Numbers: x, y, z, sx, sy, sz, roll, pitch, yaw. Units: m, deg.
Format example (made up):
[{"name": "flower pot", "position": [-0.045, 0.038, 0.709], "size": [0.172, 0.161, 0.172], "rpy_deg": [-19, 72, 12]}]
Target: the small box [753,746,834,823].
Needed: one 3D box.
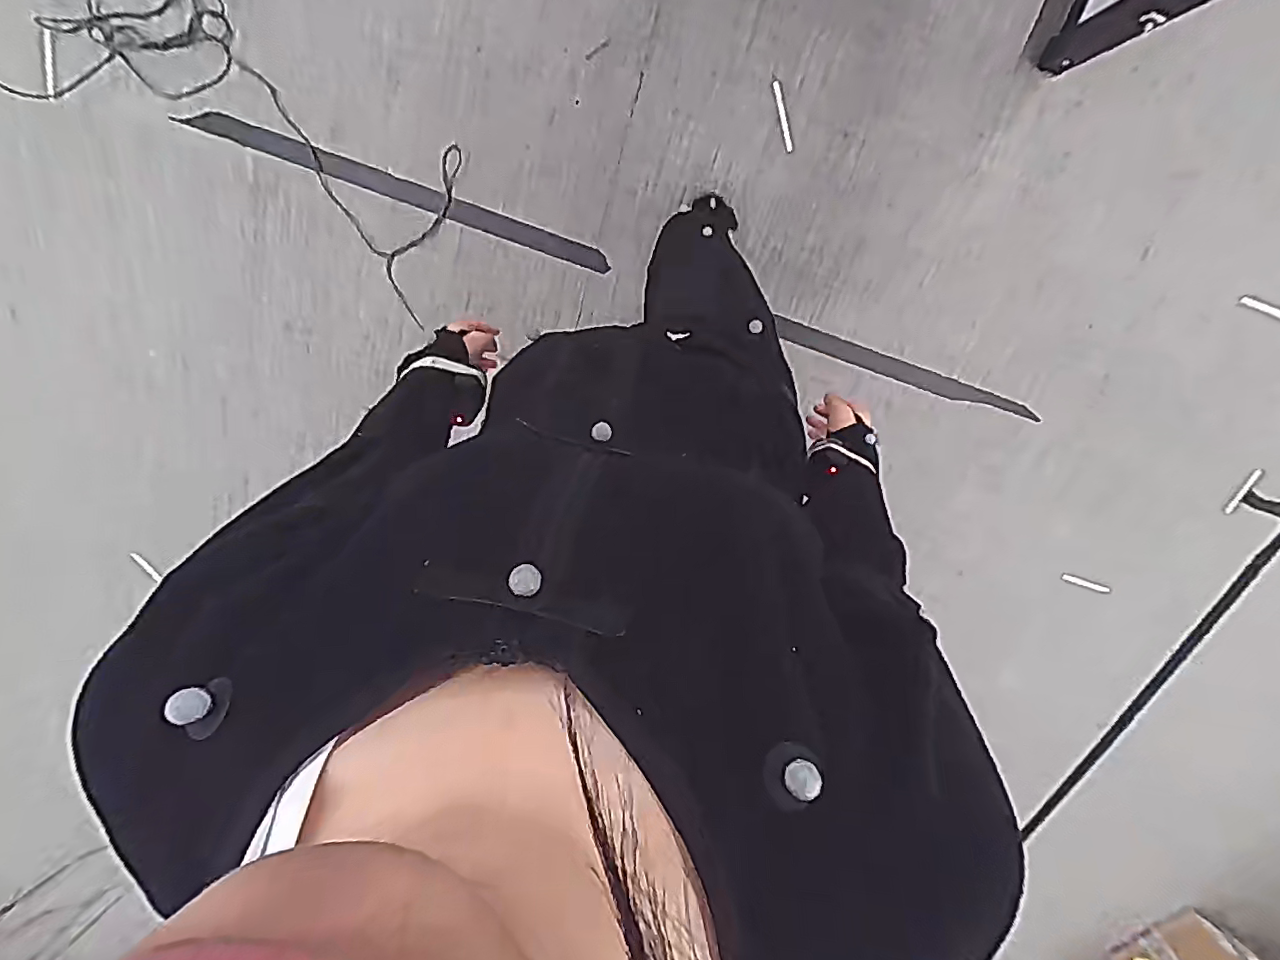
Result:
[{"name": "small box", "position": [0.445, 0.914, 1.587], "size": [0.168, 0.176, 0.179], "rpy_deg": [-24, 109, 12]}]
